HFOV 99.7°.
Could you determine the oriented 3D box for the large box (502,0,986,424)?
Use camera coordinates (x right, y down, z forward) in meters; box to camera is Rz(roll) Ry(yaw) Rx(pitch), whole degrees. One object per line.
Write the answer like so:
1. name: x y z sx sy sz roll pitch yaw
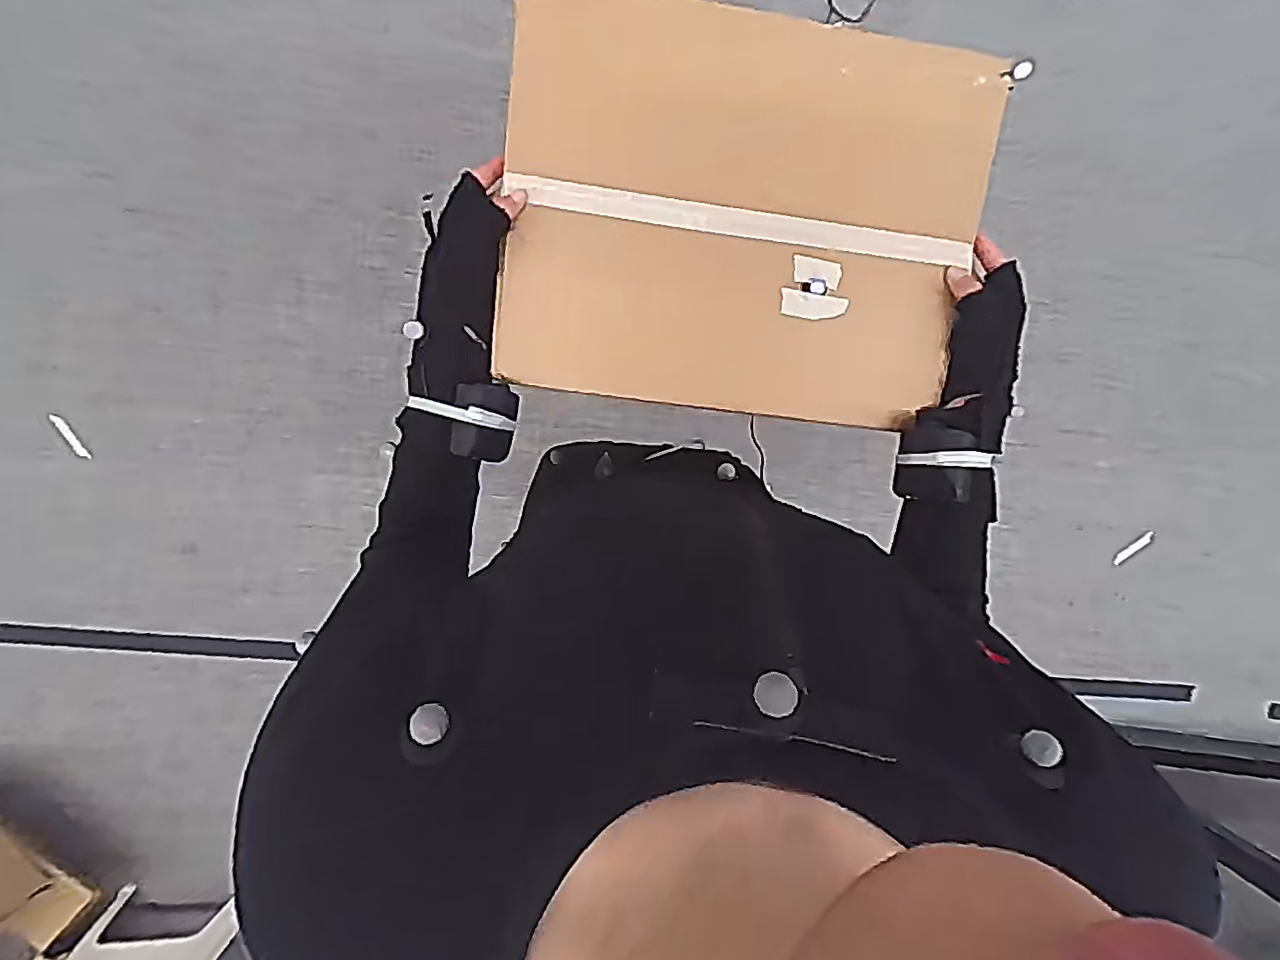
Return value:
1. large box: 0.073 -0.249 0.617 0.408 0.320 0.320 6 102 -6
